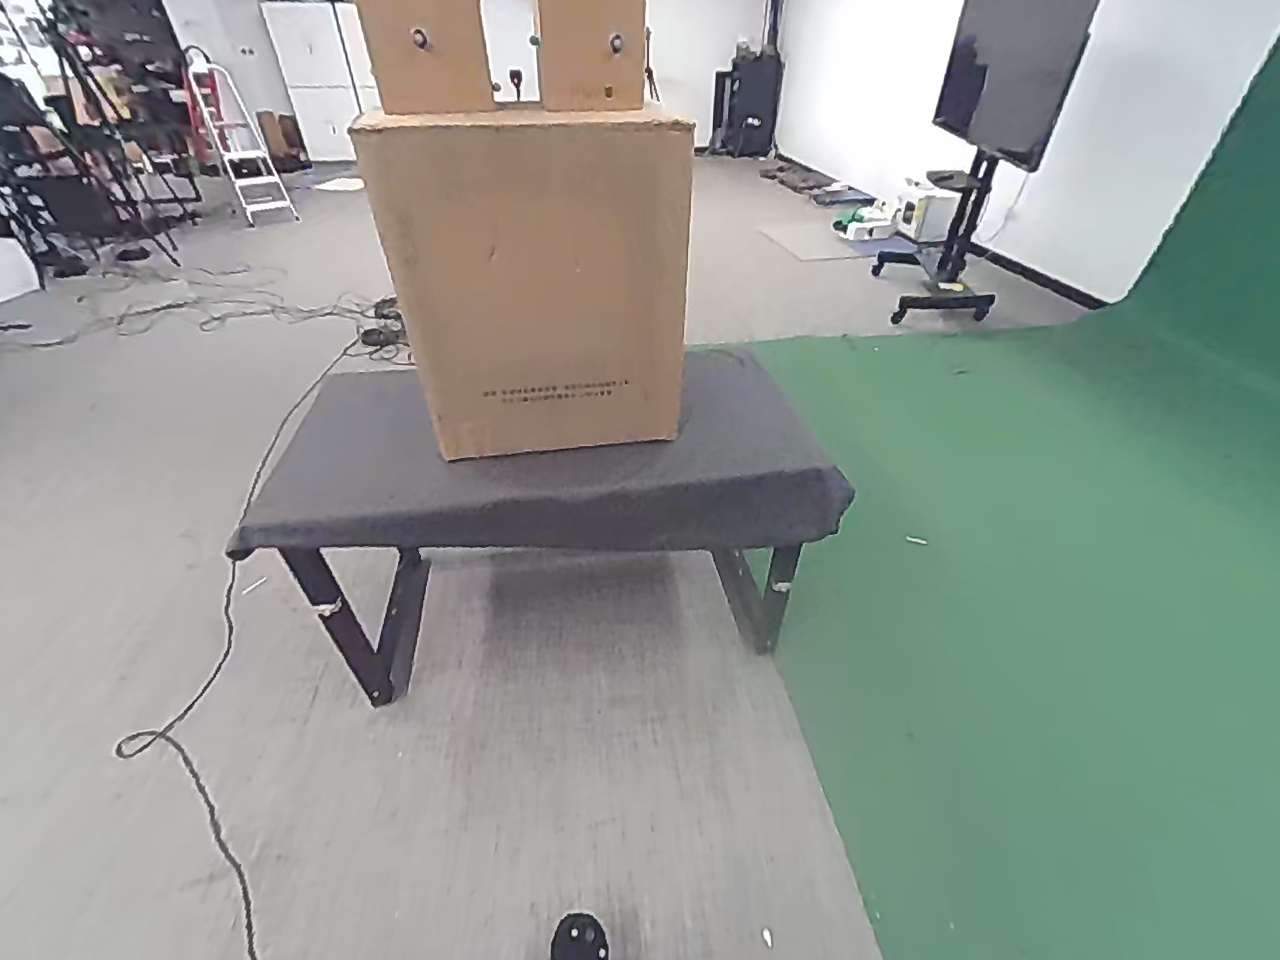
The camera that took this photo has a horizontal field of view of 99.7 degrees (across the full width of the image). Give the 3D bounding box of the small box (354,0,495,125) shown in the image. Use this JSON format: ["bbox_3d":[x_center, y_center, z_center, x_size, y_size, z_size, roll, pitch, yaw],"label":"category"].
[{"bbox_3d":[-0.337,-0.694,0.881,0.179,0.176,0.168,-9,42,-8],"label":"small box"}]

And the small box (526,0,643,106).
[{"bbox_3d":[-0.092,-0.737,0.905,0.168,0.176,0.179,-10,43,-12],"label":"small box"}]
